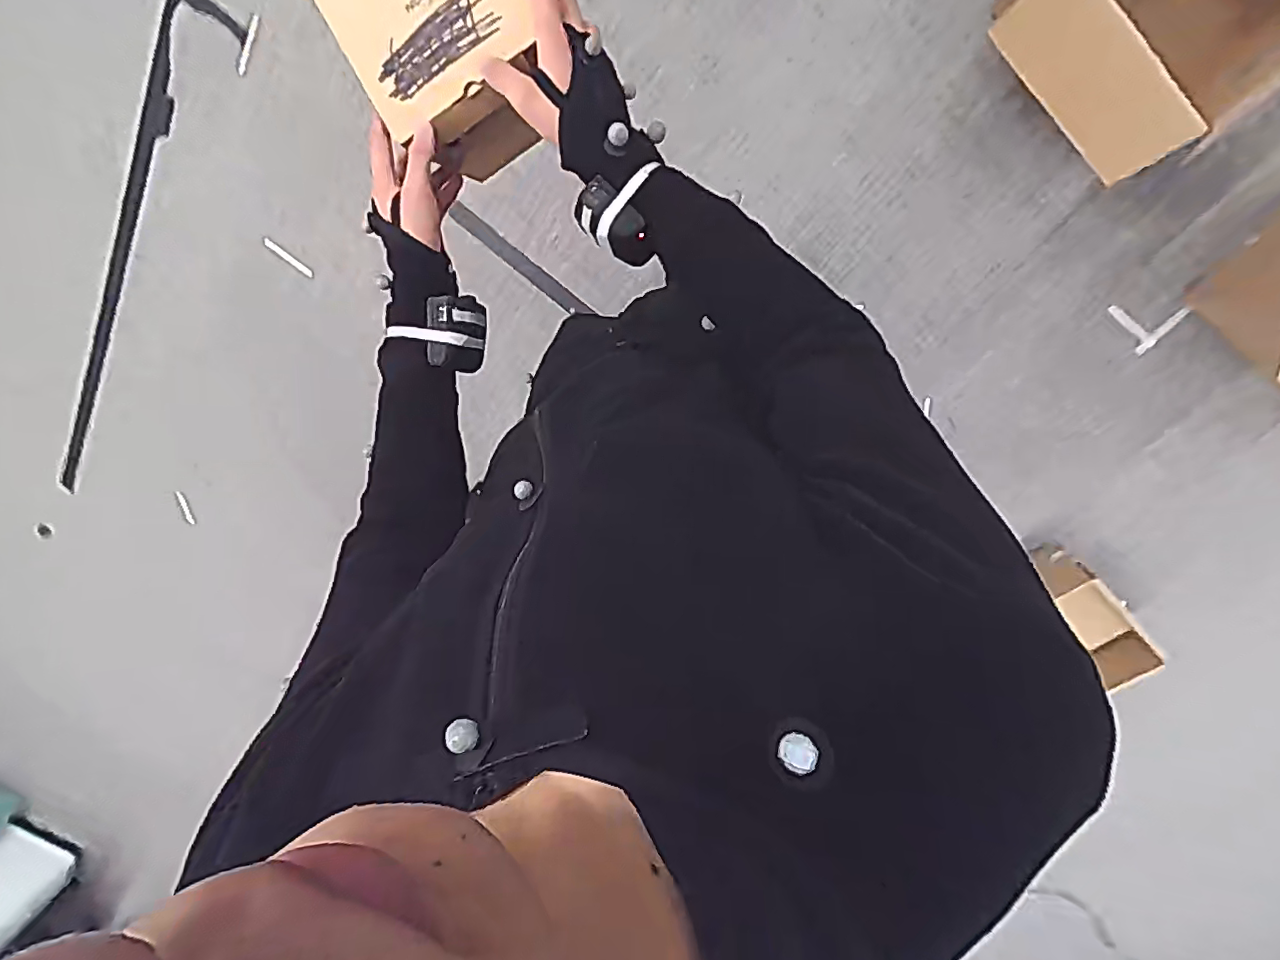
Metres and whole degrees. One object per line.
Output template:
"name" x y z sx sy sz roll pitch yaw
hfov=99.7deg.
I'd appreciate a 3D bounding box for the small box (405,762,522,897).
"small box" -0.384 0.773 1.207 0.168 0.176 0.179 32 115 -7
